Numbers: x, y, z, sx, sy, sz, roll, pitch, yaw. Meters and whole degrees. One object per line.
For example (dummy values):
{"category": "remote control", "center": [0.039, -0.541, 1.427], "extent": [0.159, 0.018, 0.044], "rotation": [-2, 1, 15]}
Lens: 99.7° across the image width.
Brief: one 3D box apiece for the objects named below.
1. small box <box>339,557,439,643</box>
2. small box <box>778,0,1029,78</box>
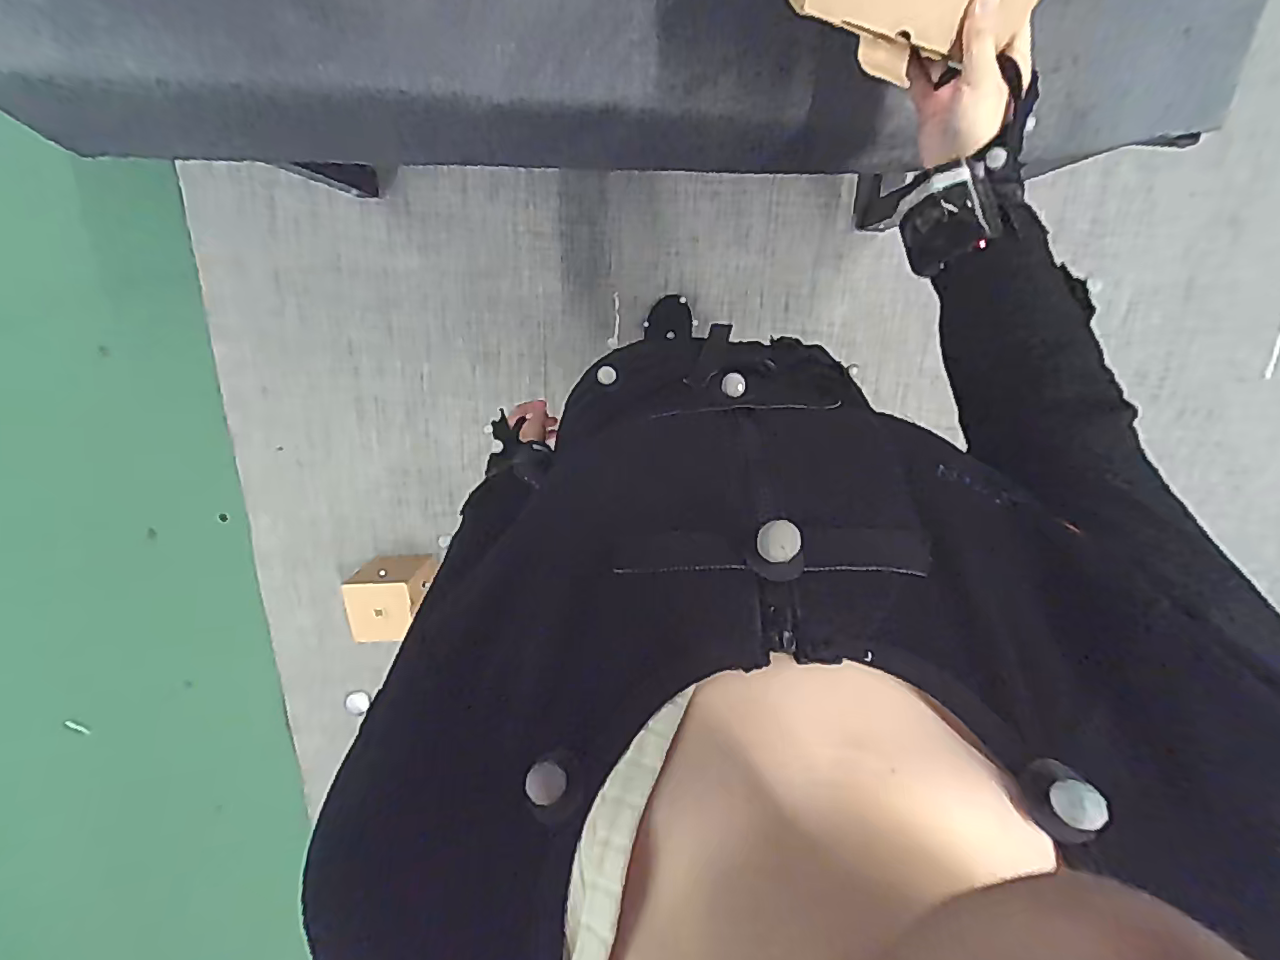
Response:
{"category": "small box", "center": [-0.648, 0.311, 1.426], "extent": [0.179, 0.176, 0.168], "rotation": [-3, 106, 4]}
{"category": "small box", "center": [0.182, -0.412, 0.344], "extent": [0.168, 0.176, 0.179], "rotation": [-1, 150, -21]}
